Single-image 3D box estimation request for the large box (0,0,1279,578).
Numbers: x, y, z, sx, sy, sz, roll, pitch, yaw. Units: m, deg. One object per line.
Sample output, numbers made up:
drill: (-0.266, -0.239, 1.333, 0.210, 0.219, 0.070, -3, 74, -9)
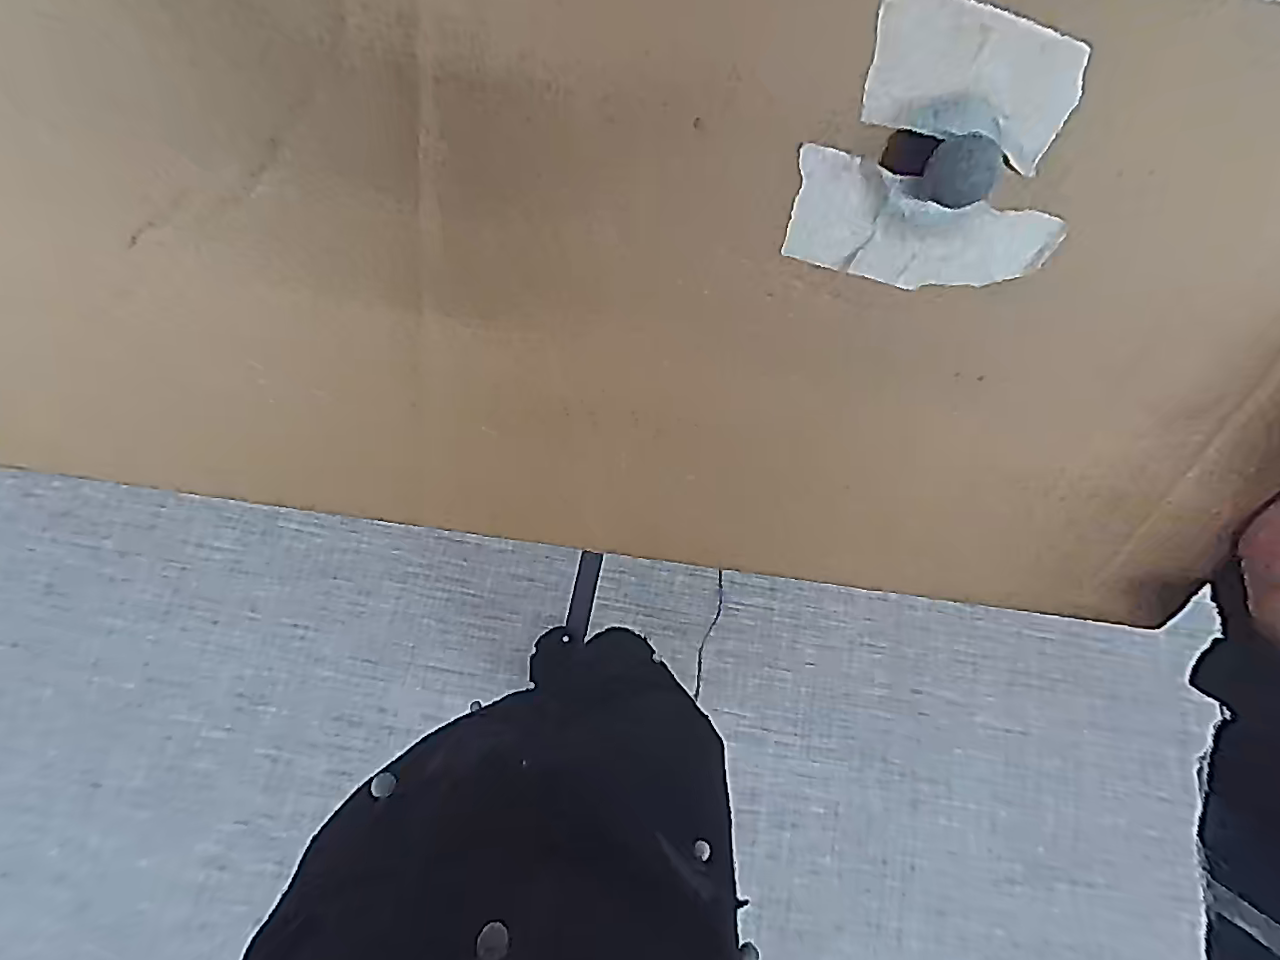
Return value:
large box: (0.001, -0.194, 0.225, 0.408, 0.320, 0.320, 8, 31, -7)
